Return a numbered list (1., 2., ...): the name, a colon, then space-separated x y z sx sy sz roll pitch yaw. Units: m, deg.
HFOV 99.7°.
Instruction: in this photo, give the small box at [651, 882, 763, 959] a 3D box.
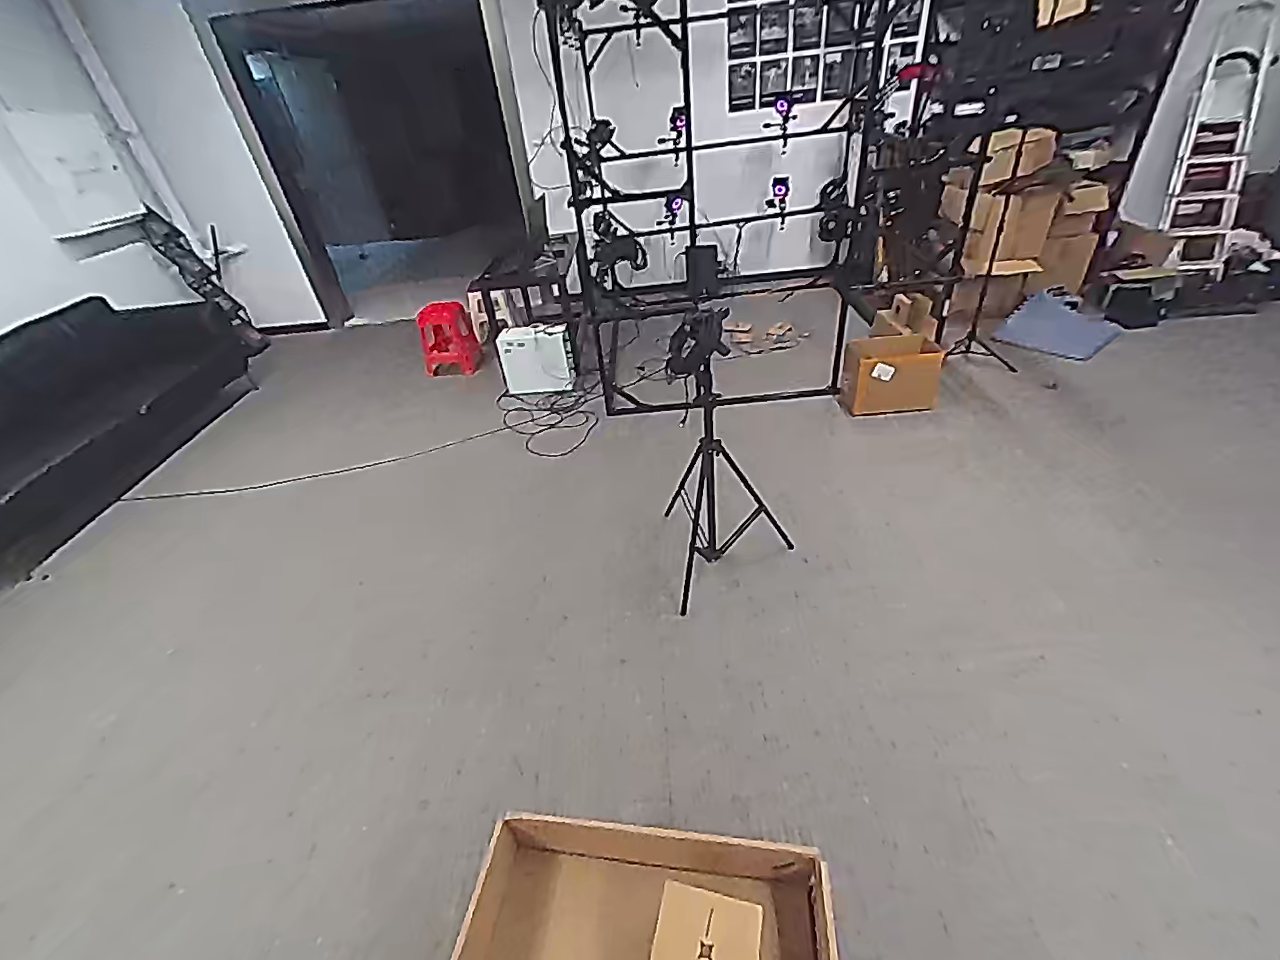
1. small box: 0.110 0.805 0.877 0.168 0.176 0.179 4 36 16
